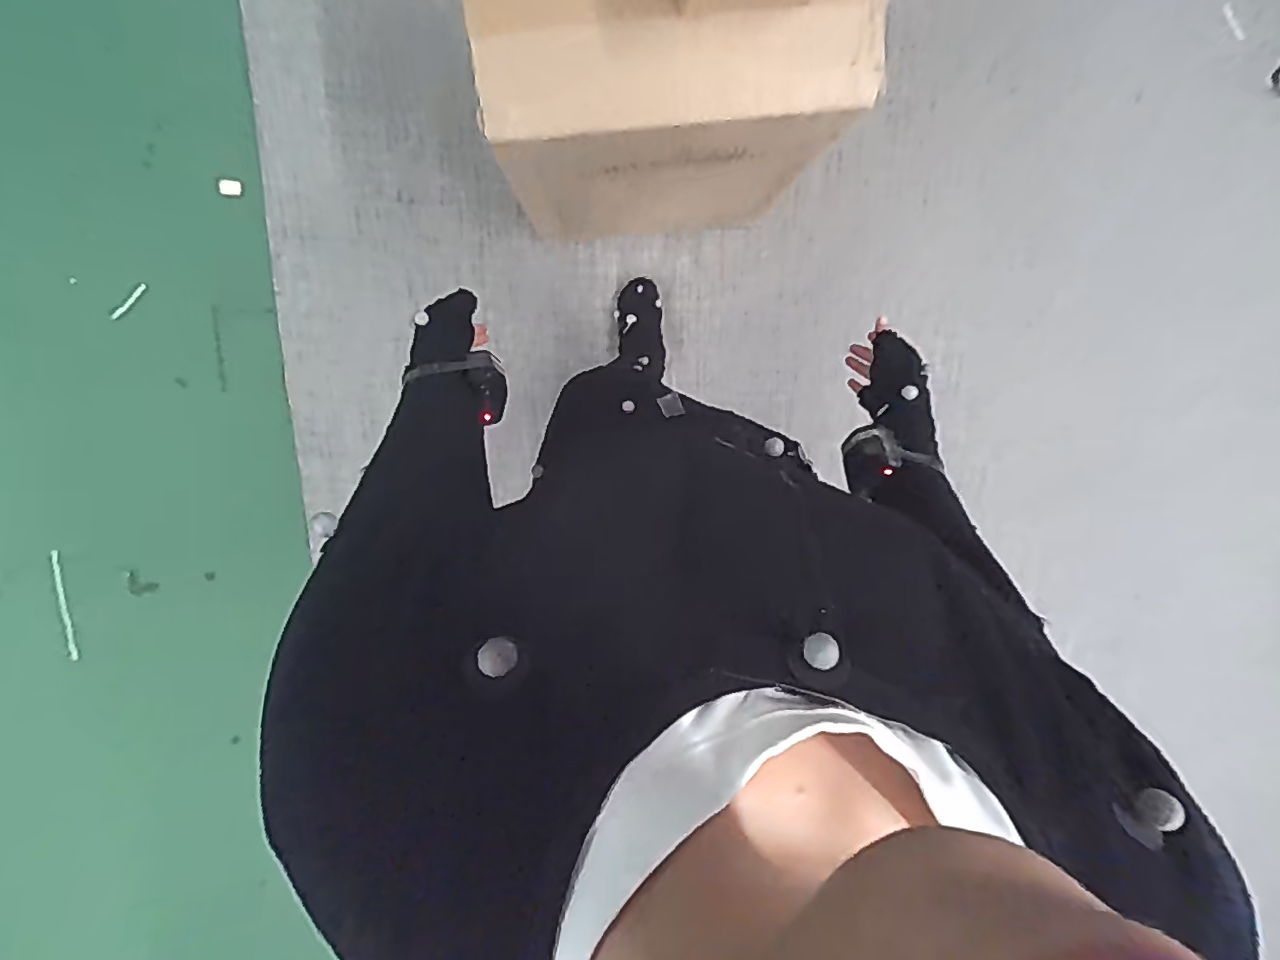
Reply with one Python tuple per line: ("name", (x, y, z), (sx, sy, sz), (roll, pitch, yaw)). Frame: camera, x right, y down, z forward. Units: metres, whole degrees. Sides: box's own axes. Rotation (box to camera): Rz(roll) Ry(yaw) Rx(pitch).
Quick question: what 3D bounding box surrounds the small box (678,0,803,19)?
("small box", (0.129, -0.638, 0.584), (0.179, 0.176, 0.168), (-10, 112, -2))
